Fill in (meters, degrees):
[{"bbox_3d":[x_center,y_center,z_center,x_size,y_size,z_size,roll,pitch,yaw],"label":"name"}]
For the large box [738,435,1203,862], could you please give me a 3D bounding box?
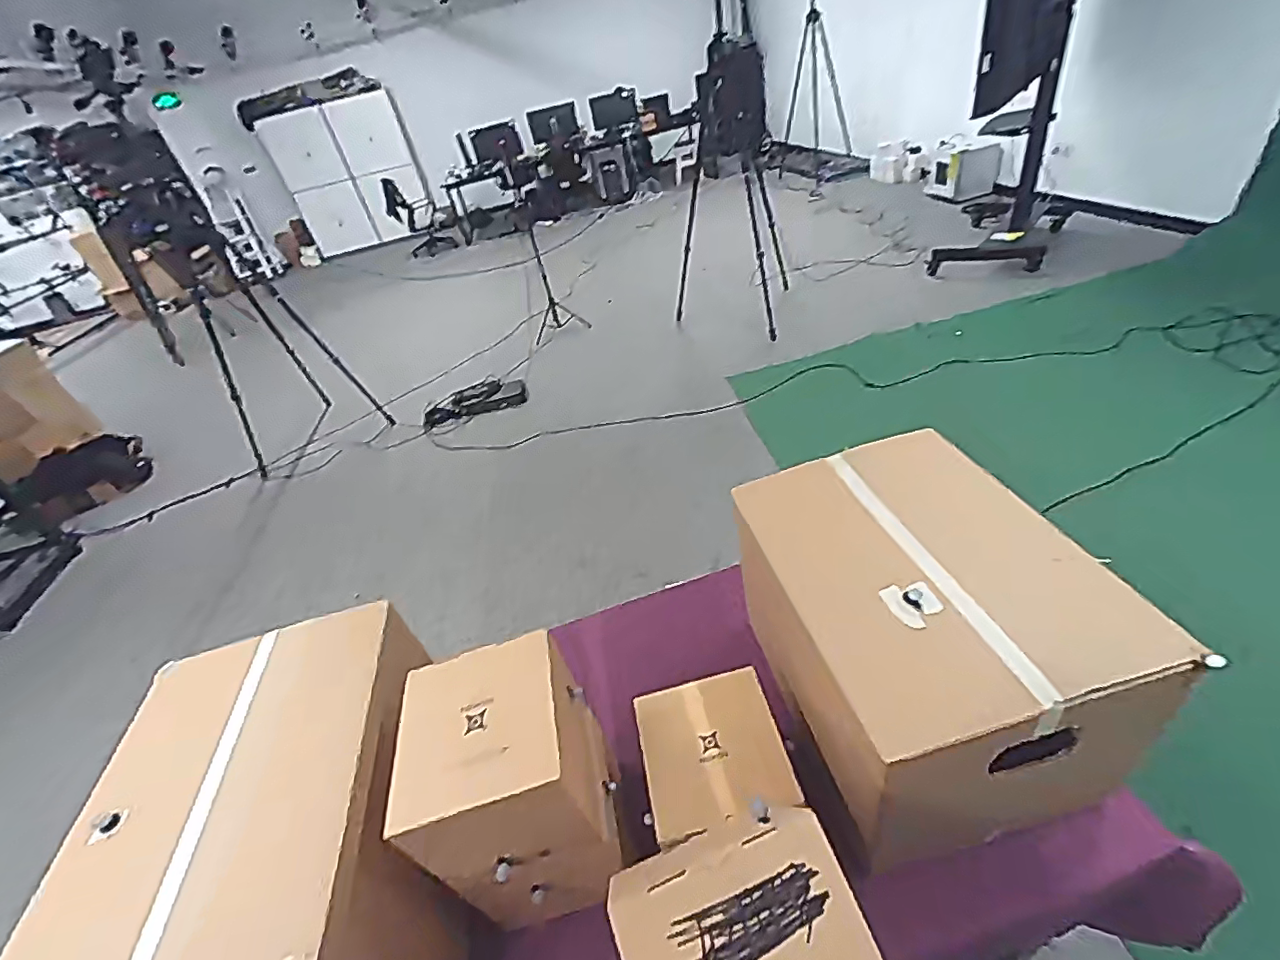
[{"bbox_3d":[0.352,0.201,0.729,0.320,0.320,0.408,-16,38,-2],"label":"large box"}]
